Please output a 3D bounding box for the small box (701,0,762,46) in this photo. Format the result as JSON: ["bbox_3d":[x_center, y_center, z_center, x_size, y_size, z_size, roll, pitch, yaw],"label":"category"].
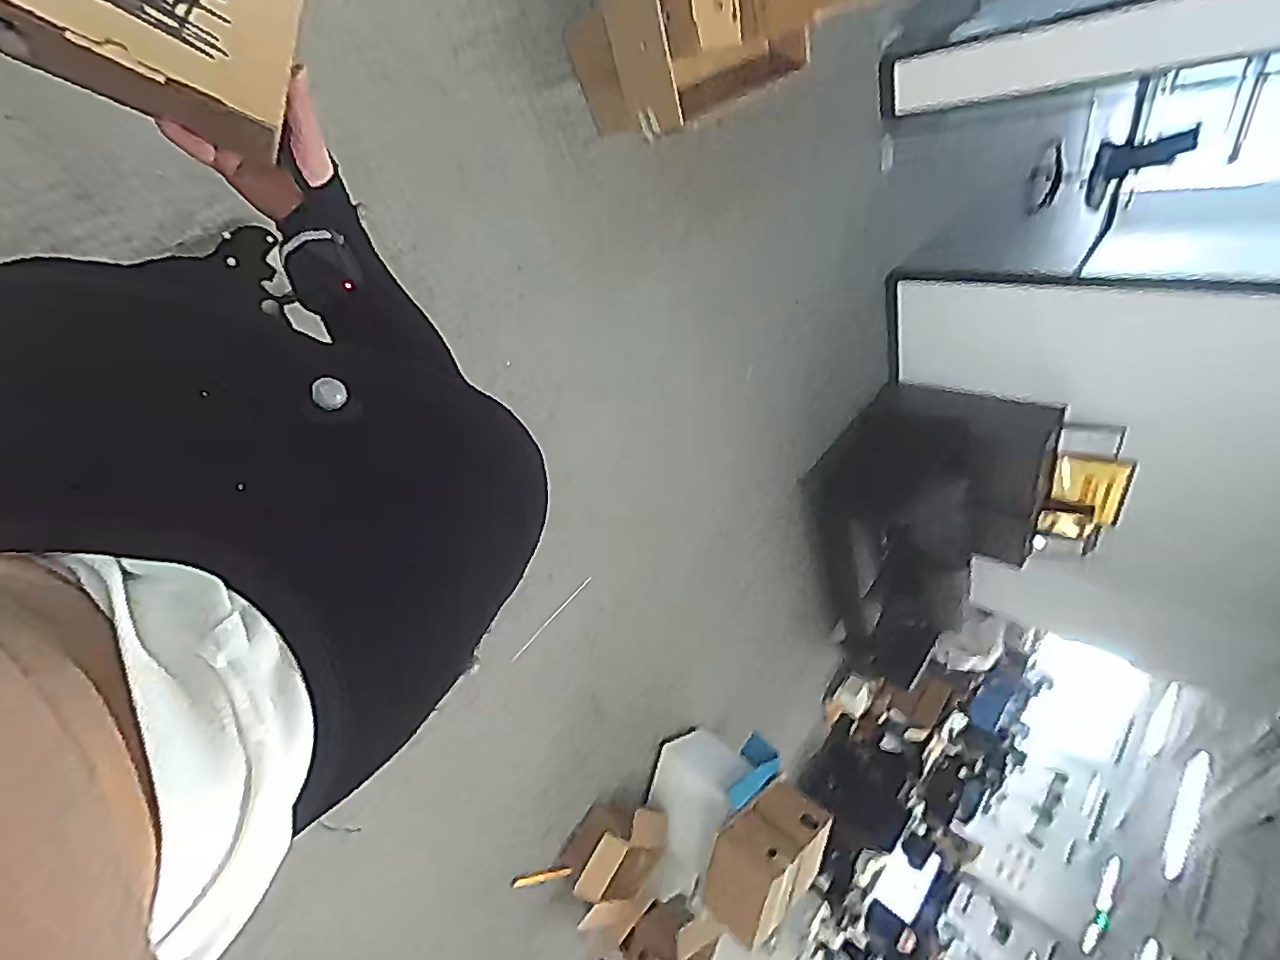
[{"bbox_3d":[0.286,-1.311,1.461,0.179,0.176,0.168,-42,131,-24],"label":"small box"}]

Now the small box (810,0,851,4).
[{"bbox_3d":[0.507,-1.221,1.238,0.179,0.176,0.168,-33,128,-29],"label":"small box"}]

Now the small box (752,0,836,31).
[{"bbox_3d":[0.394,-1.263,1.350,0.179,0.176,0.168,-42,132,-24],"label":"small box"}]
